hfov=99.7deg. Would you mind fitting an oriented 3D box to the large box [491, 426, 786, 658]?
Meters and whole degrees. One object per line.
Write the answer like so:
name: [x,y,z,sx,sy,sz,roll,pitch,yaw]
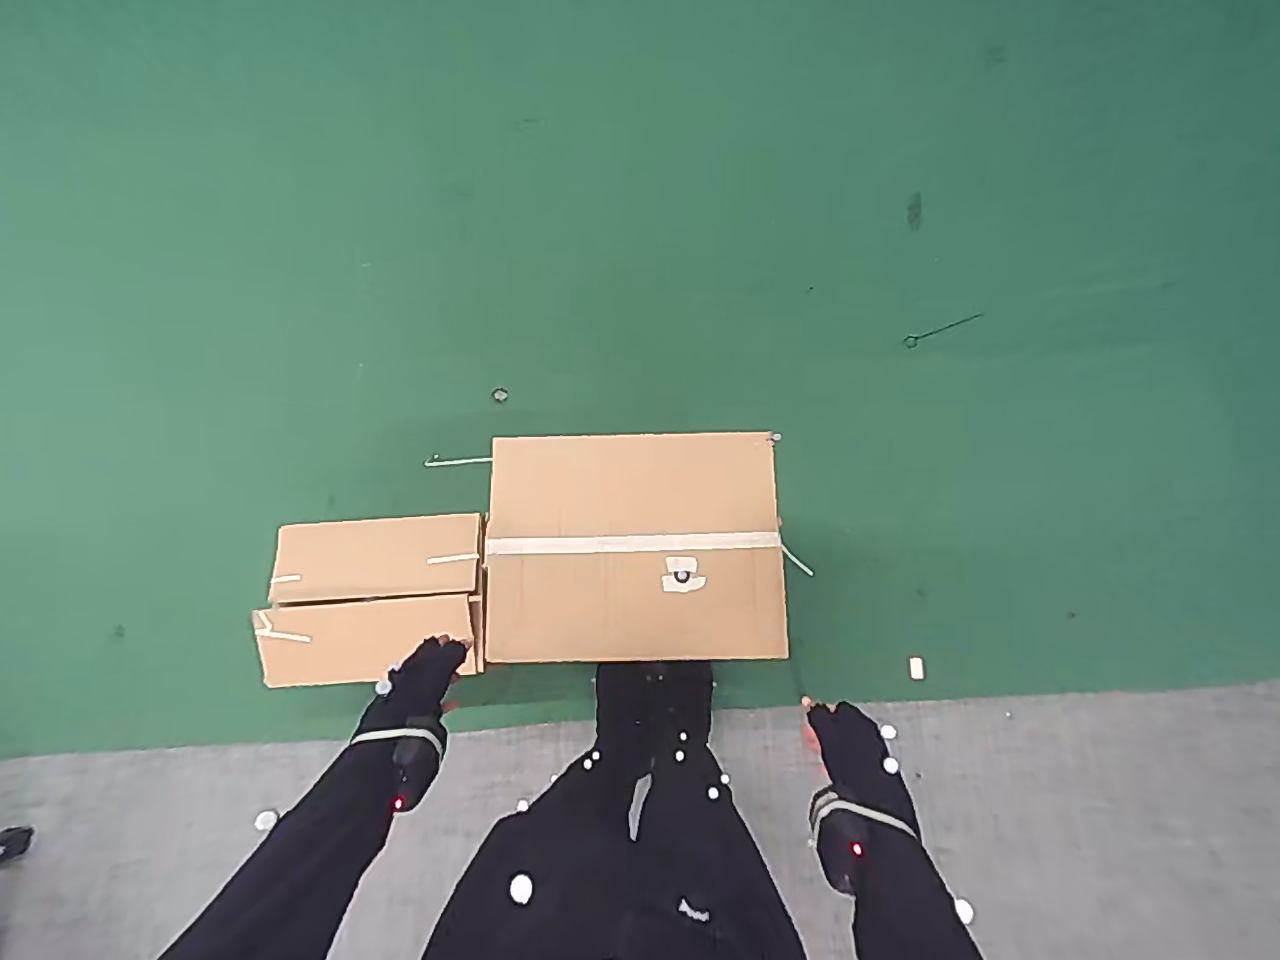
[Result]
large box: [-0.007,0.109,0.894,0.408,0.320,0.320,-1,79,0]
